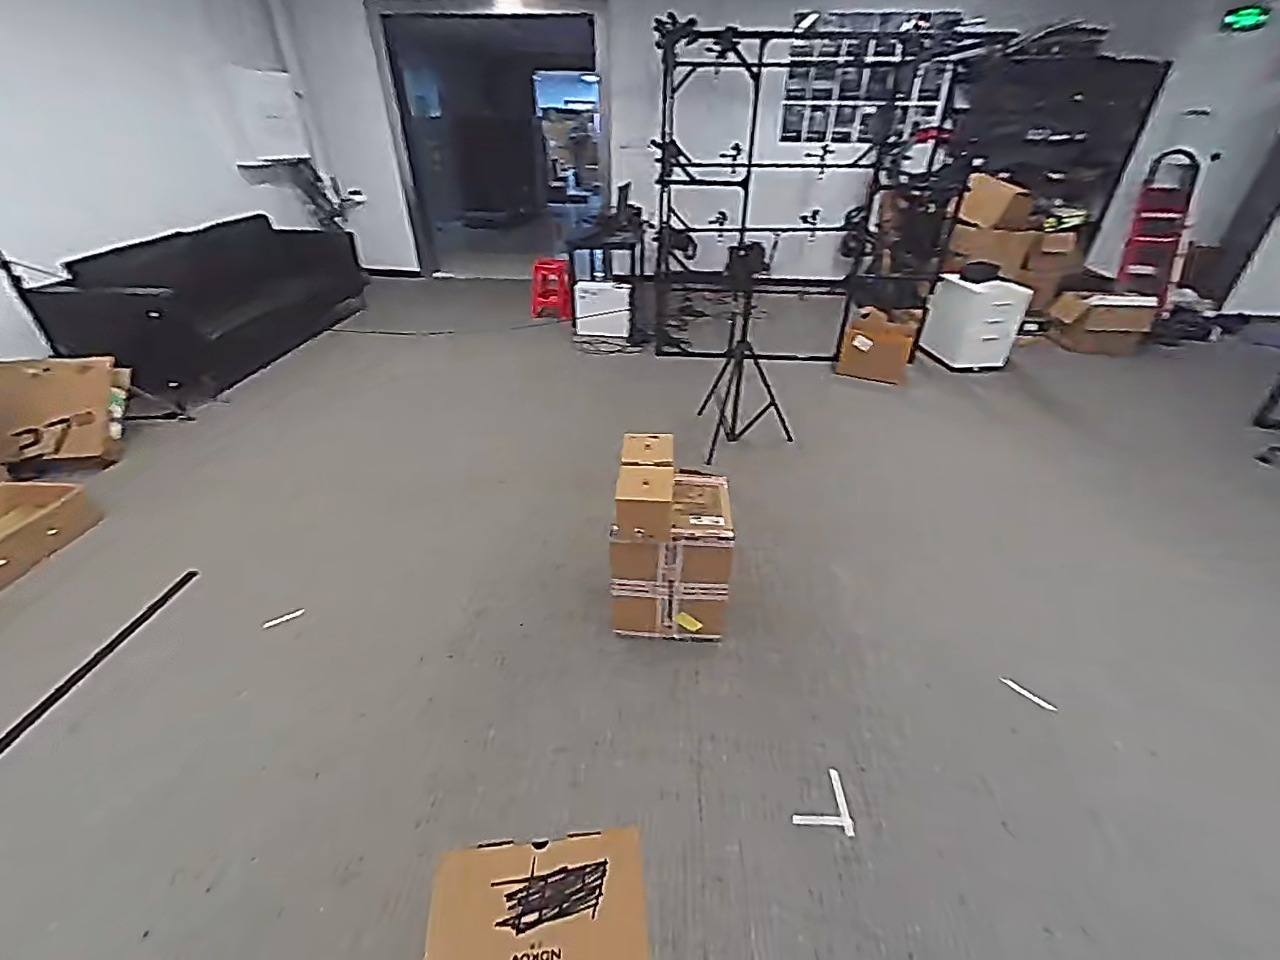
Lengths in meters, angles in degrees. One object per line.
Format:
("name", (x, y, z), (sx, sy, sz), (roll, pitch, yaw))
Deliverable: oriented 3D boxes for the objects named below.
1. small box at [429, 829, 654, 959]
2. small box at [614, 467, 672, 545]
("small box", (-0.074, 0.416, 0.435), (0.168, 0.176, 0.179), (-2, 39, -6))
("small box", (0.013, 0.078, 1.670), (0.168, 0.176, 0.179), (1, 37, 4))
